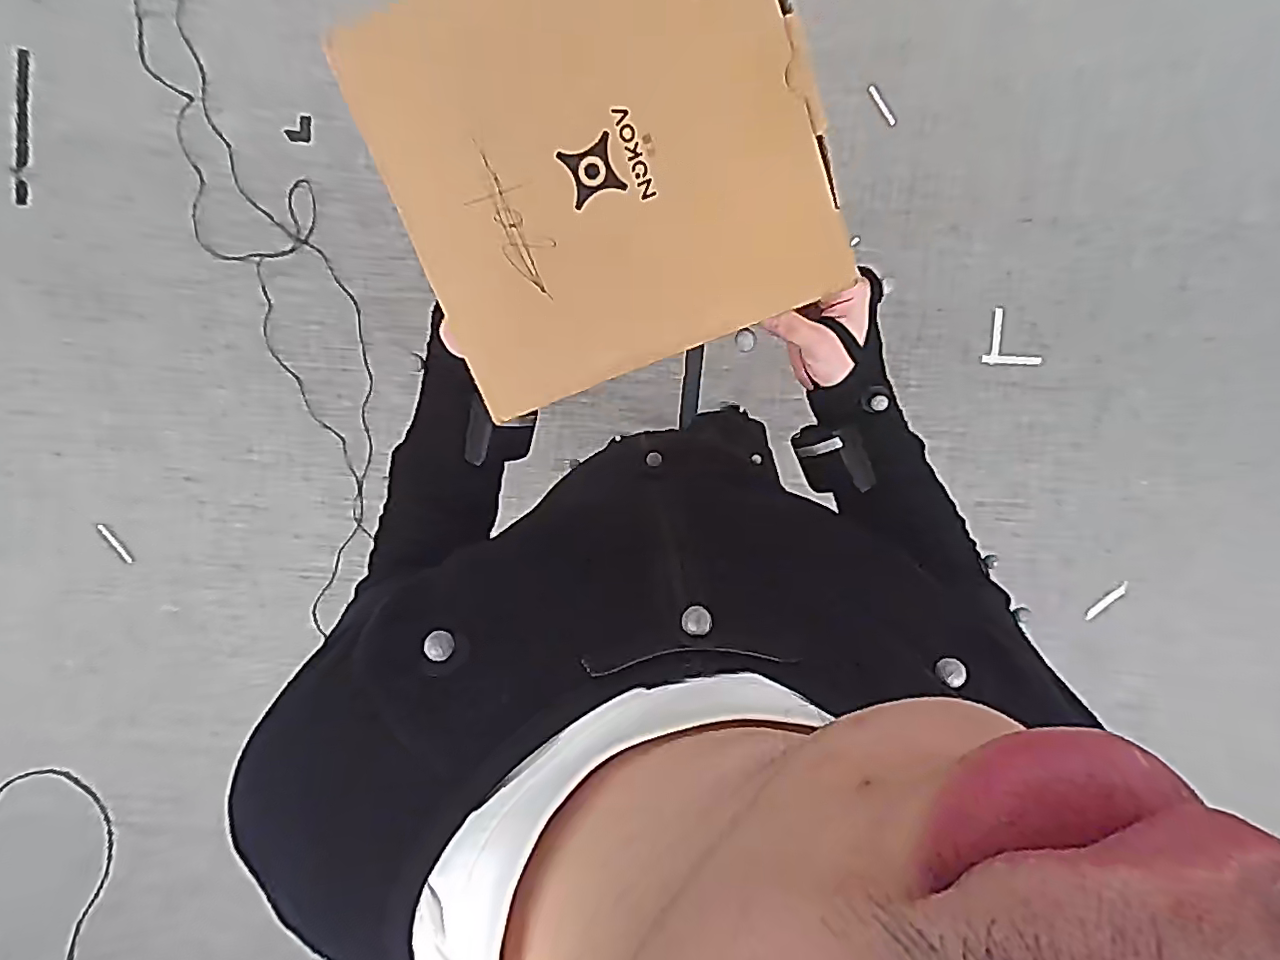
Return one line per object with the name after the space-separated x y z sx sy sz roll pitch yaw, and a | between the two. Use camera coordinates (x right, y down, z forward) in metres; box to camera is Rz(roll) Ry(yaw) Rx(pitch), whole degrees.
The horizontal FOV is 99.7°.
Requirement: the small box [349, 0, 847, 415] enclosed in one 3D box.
-0.012 -0.154 0.311 0.179 0.176 0.168 -21 103 9 | small box
